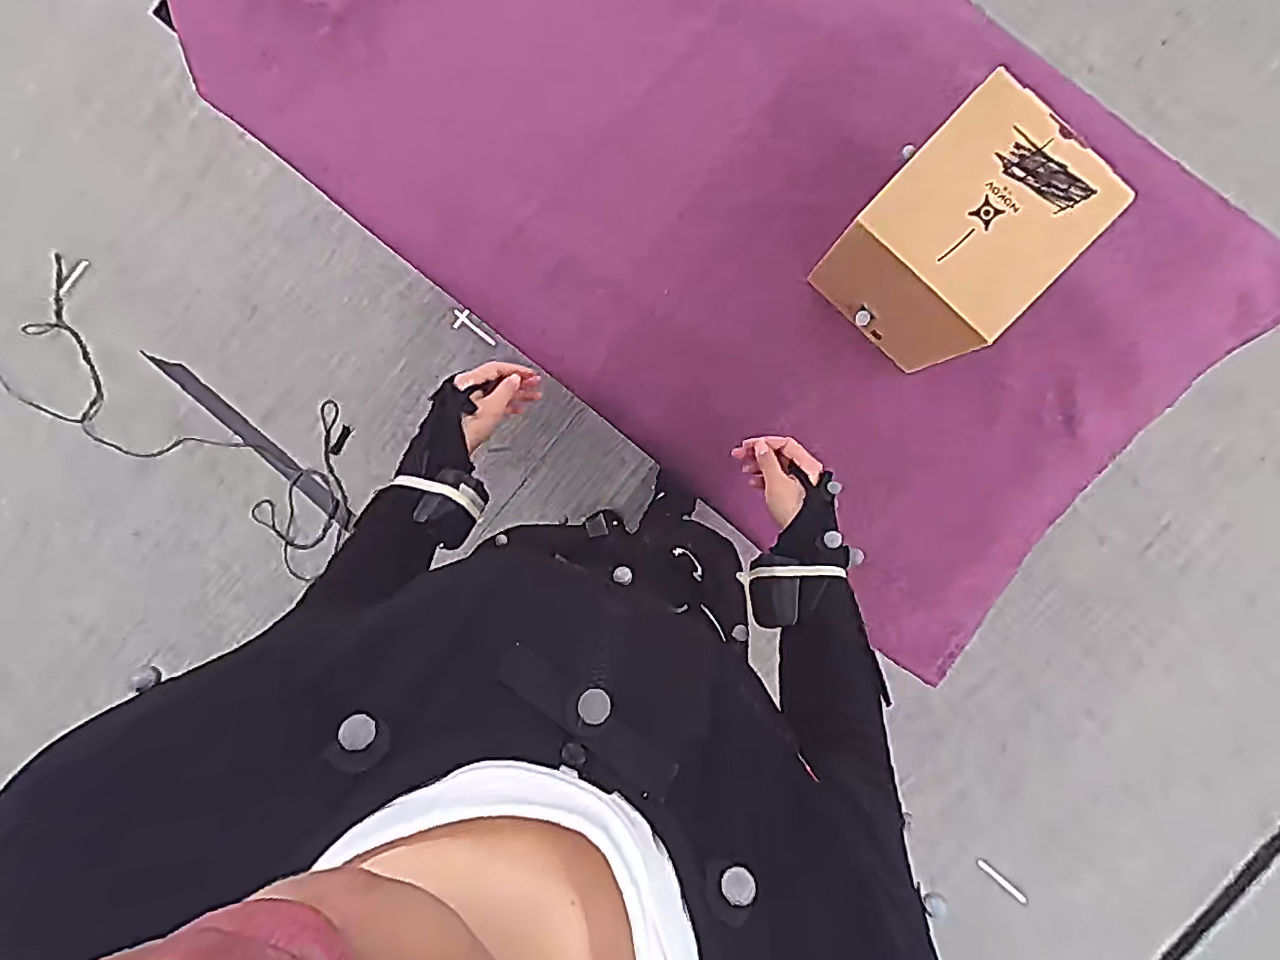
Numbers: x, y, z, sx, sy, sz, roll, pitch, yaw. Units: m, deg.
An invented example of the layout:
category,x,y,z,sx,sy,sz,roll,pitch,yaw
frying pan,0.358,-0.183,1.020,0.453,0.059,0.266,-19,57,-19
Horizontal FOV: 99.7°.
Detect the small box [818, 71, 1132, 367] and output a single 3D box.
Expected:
category,x,y,z,sx,sy,sz,roll,pitch,yaw
small box,0.313,-0.242,0.551,0.168,0.176,0.179,44,93,0
